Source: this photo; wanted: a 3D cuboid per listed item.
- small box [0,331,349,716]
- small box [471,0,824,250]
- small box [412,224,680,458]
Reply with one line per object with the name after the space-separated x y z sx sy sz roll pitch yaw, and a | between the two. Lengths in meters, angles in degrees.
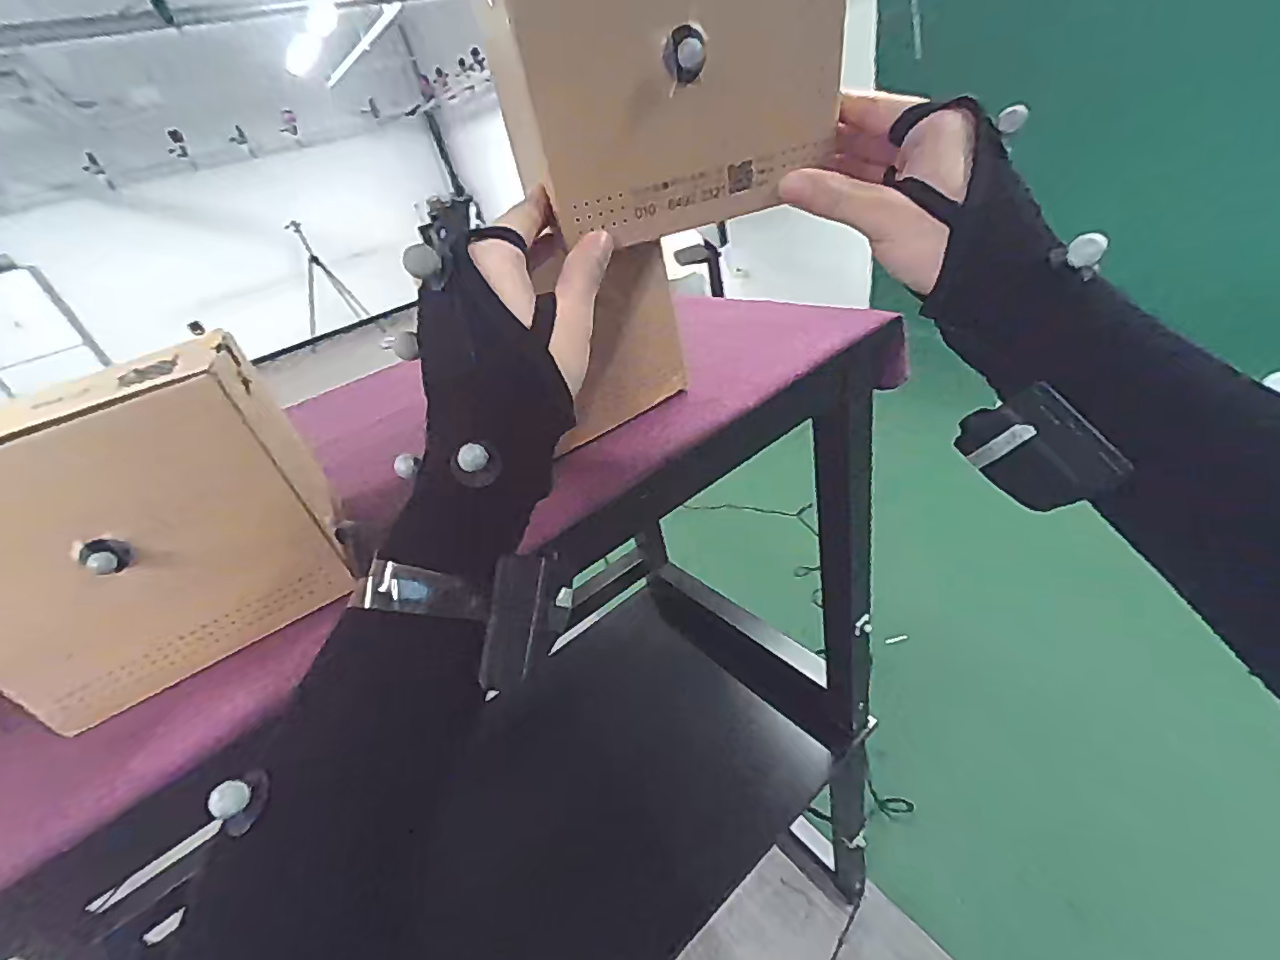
-0.328 0.018 0.378 0.179 0.176 0.168 -30 34 -20 | small box
-0.002 -0.256 0.325 0.168 0.176 0.179 -18 41 -7 | small box
-0.085 -0.143 0.521 0.179 0.176 0.168 -30 34 -21 | small box
